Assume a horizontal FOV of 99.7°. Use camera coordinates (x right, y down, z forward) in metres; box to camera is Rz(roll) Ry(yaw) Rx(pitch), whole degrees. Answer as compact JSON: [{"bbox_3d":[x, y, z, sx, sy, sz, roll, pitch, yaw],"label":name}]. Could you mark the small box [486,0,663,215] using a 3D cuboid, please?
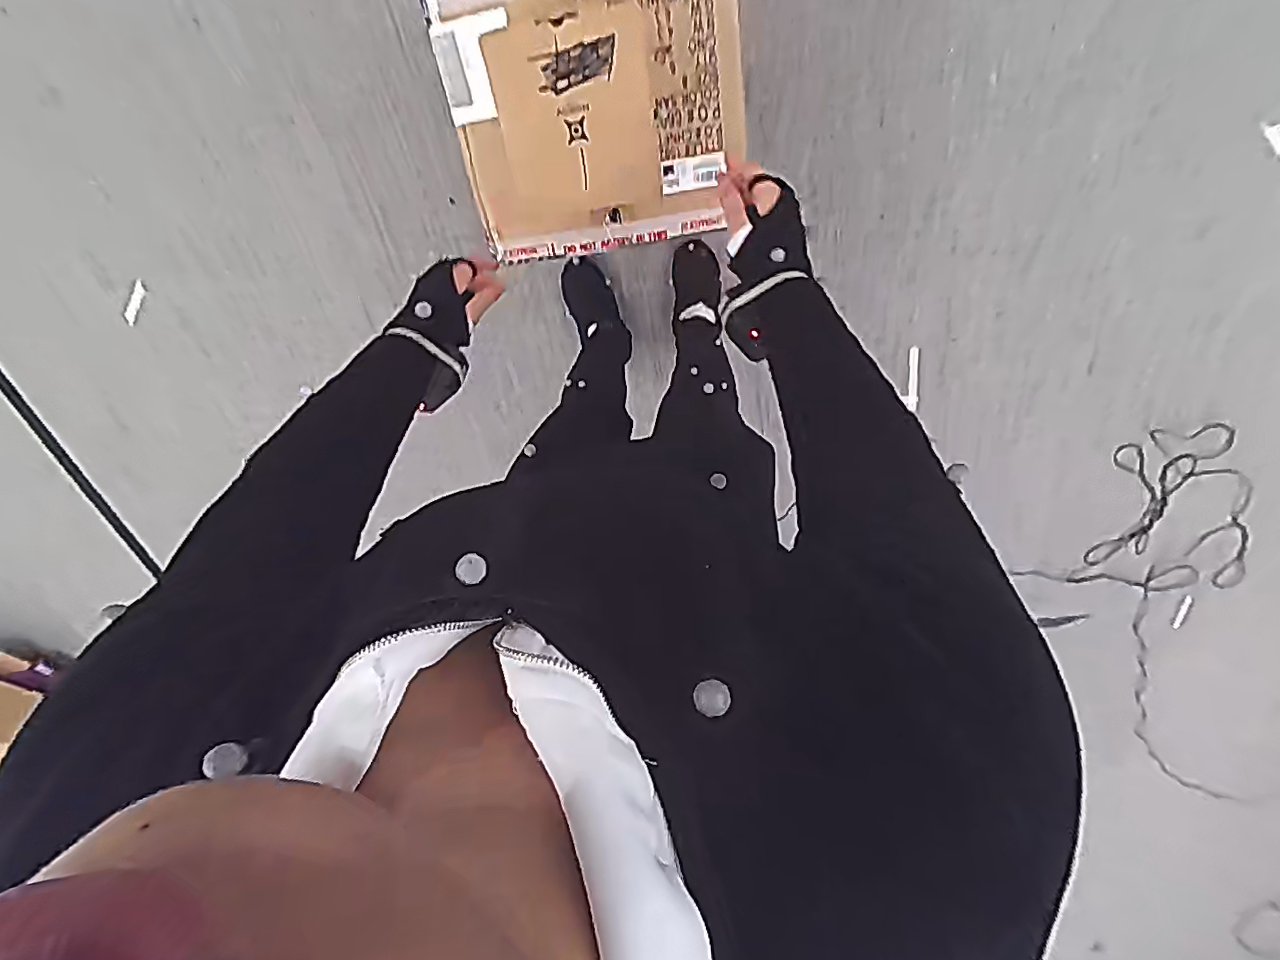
[{"bbox_3d":[-0.064,-0.434,0.648,0.168,0.176,0.179,-6,124,6],"label":"small box"}]
